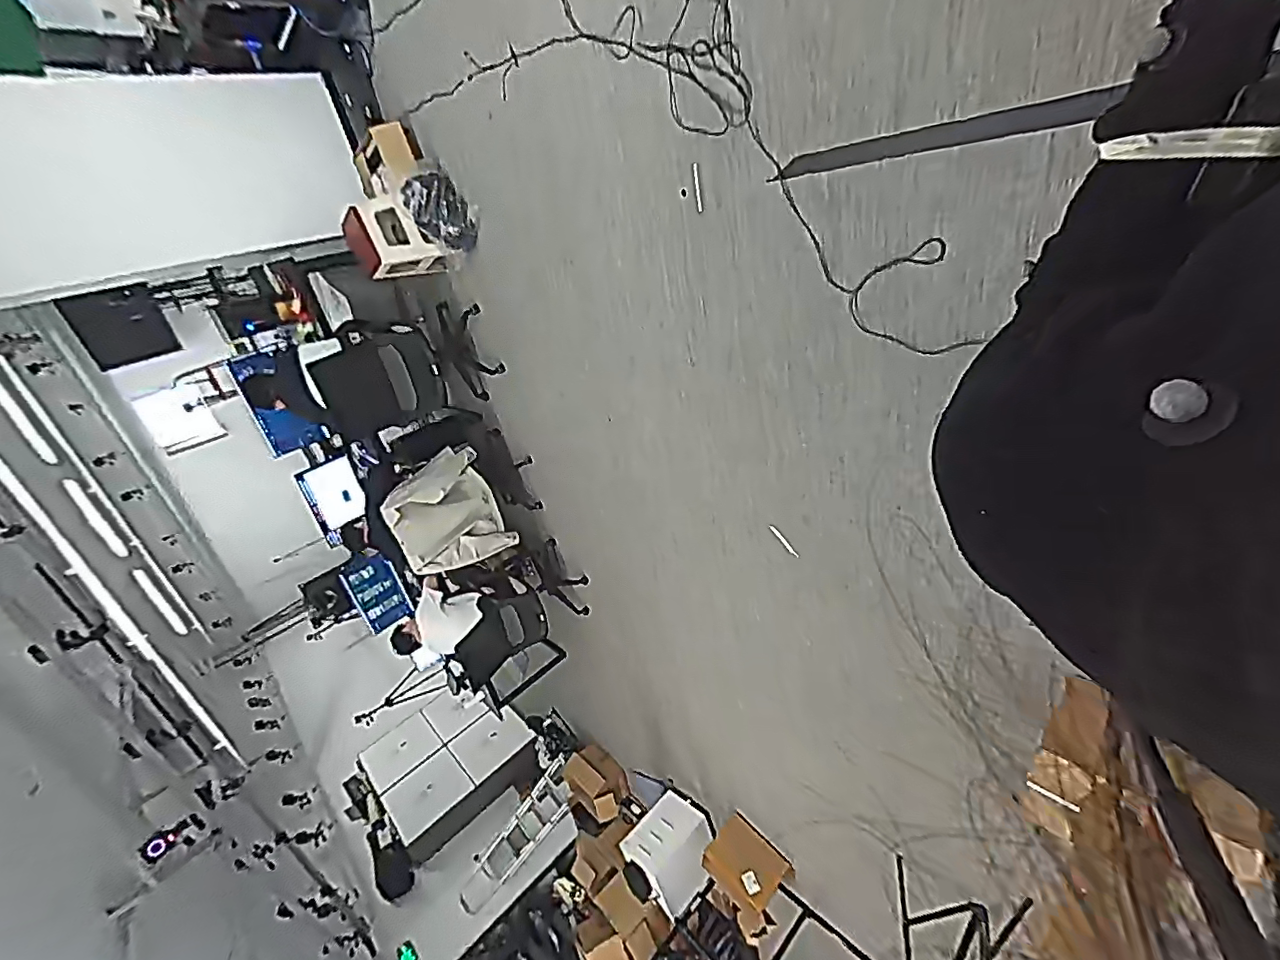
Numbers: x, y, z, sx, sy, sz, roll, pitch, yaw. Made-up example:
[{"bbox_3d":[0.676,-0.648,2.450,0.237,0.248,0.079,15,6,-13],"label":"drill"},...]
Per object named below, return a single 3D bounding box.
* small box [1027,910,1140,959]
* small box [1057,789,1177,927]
[{"bbox_3d":[0.903,1.035,1.105,0.179,0.176,0.168,21,132,42],"label":"small box"},{"bbox_3d":[1.135,0.888,1.287,0.179,0.176,0.168,18,129,46],"label":"small box"}]
